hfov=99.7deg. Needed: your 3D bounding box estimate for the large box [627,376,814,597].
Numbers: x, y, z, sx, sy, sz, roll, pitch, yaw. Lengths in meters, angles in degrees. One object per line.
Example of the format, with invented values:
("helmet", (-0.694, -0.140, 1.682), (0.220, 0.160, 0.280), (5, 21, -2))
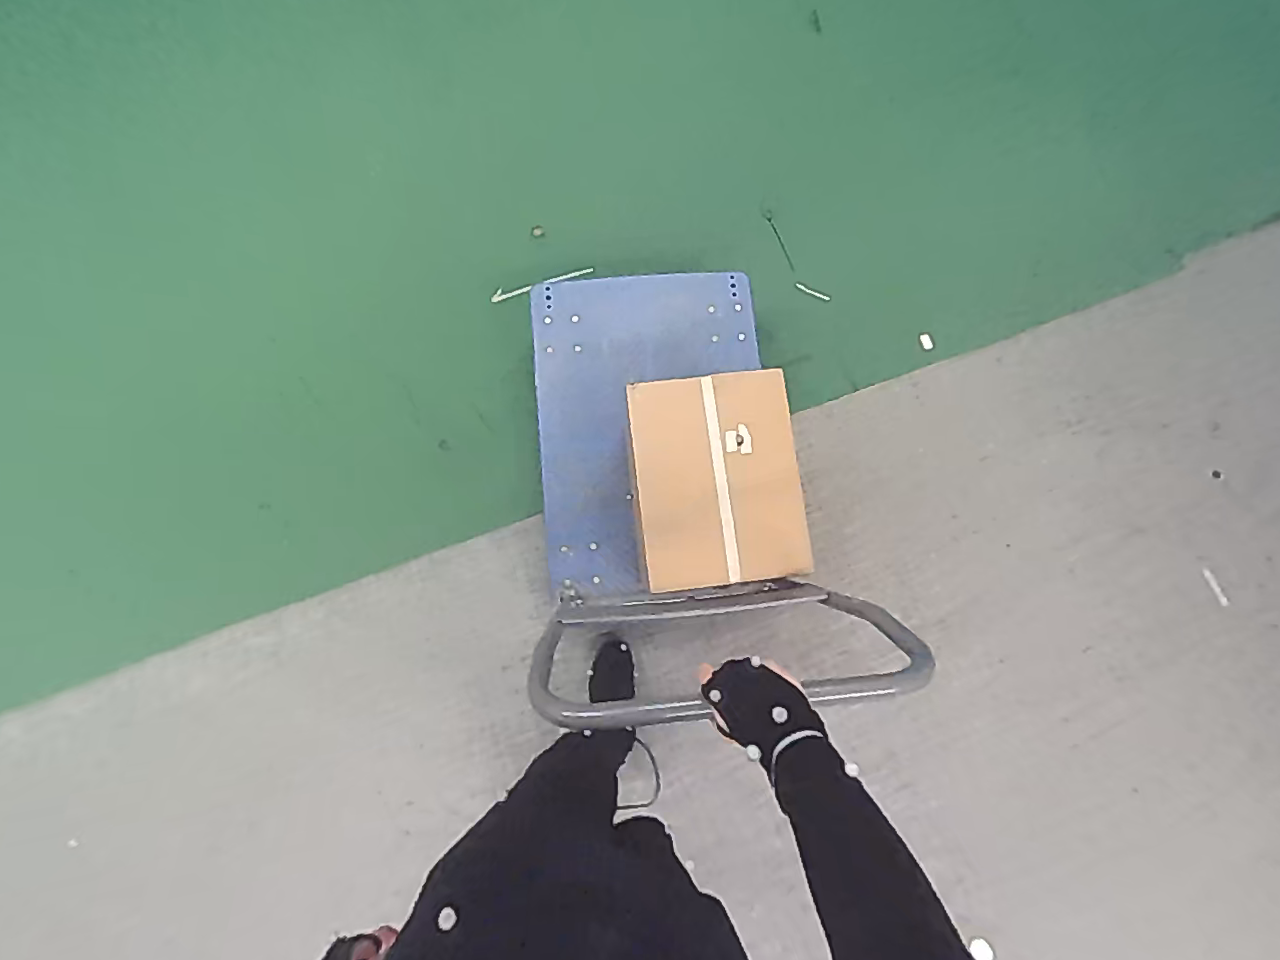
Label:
("large box", (0.147, 0.029, 1.184), (0.320, 0.320, 0.408), (-6, 81, -4))
